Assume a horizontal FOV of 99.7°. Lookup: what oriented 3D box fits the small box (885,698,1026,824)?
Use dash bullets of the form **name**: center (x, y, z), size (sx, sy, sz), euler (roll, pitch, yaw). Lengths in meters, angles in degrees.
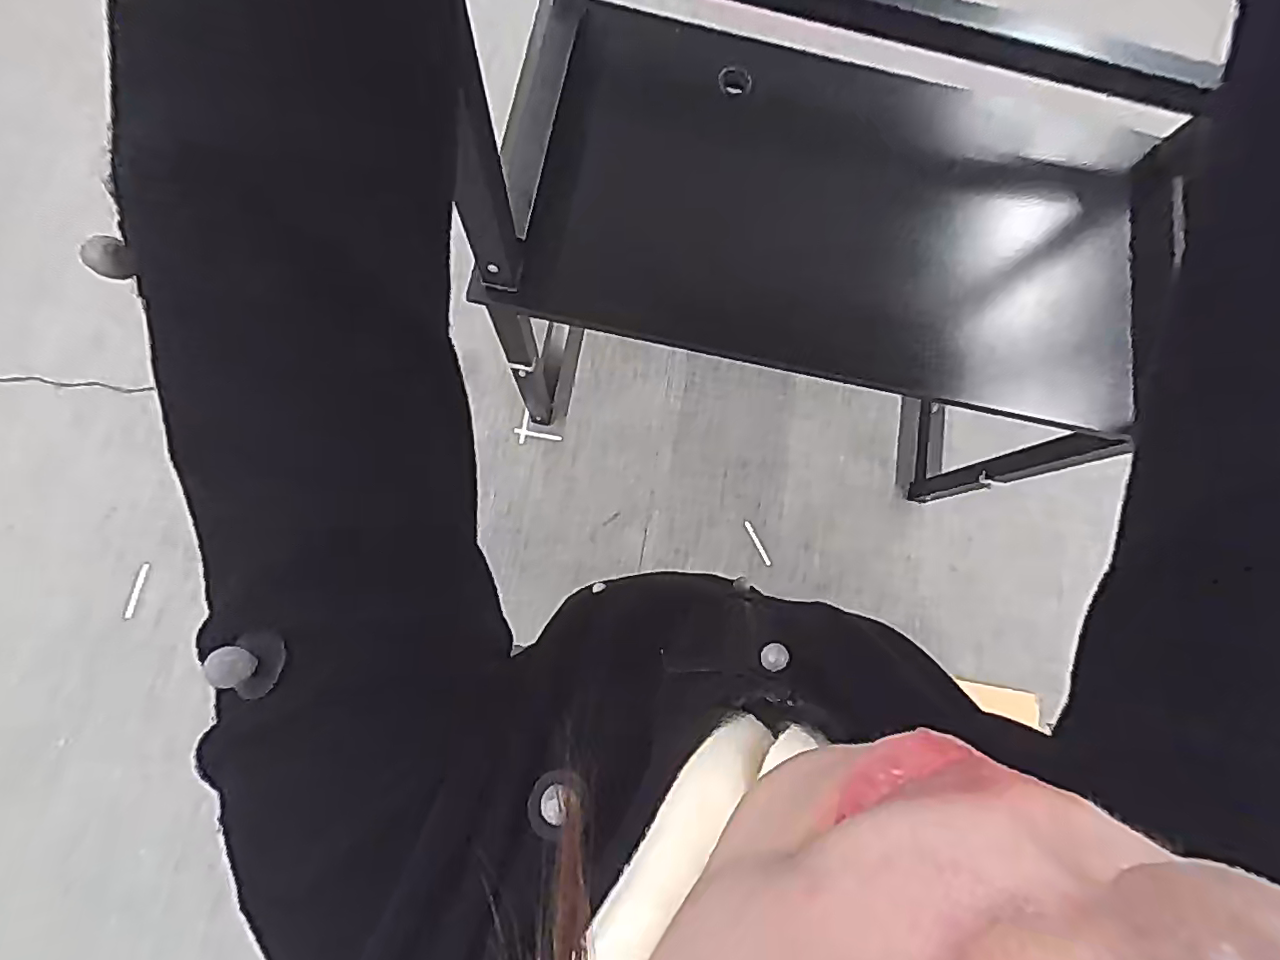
- **small box**: center (0.633, 0.558, 1.098), size (0.179, 0.176, 0.168), euler (15, 78, -2)
